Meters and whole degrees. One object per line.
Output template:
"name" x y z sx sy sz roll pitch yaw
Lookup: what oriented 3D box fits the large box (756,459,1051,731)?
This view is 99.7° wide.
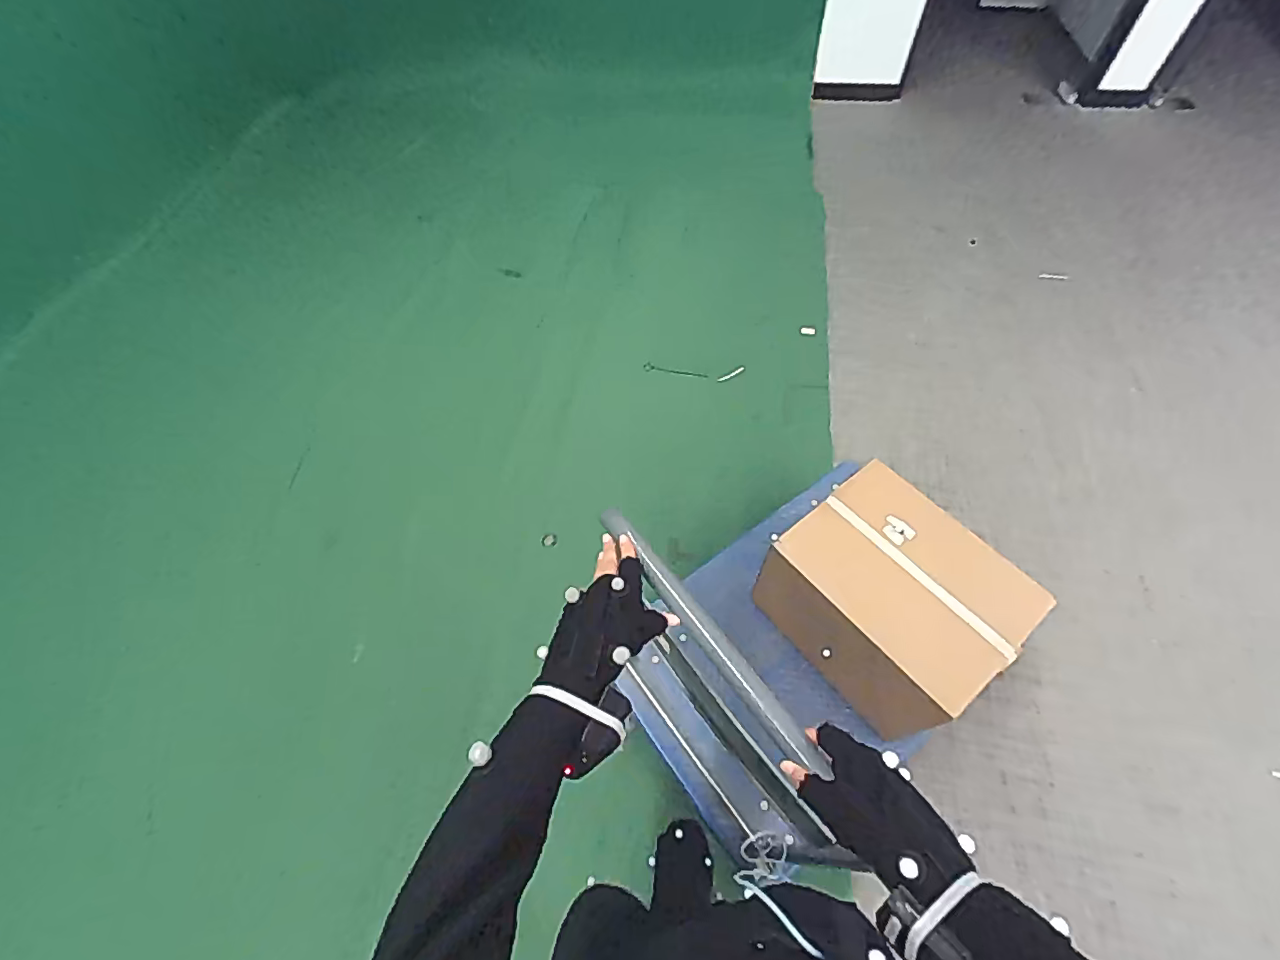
"large box" 0.506 0.242 1.133 0.320 0.320 0.408 -35 62 -18
